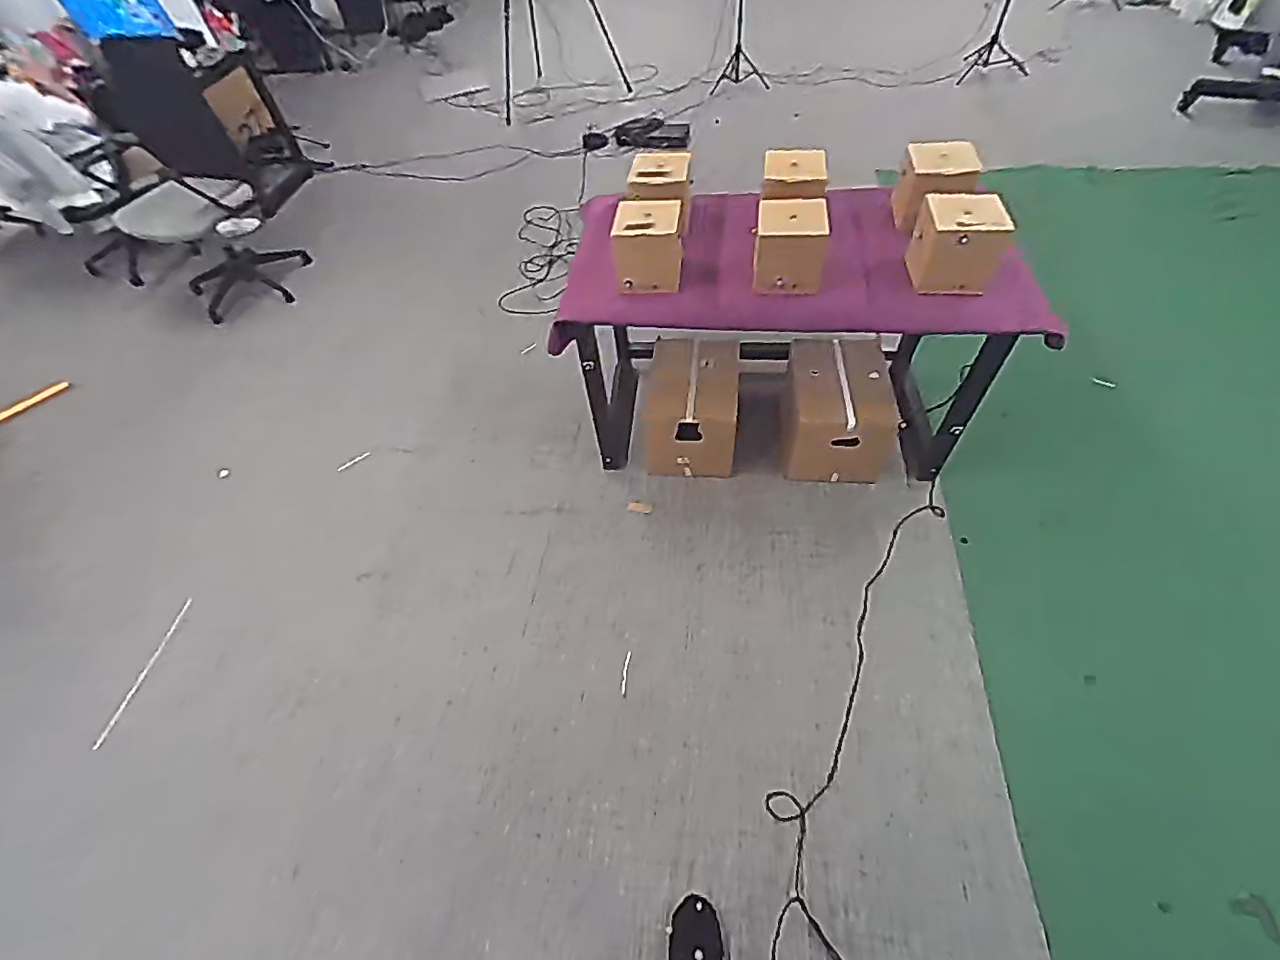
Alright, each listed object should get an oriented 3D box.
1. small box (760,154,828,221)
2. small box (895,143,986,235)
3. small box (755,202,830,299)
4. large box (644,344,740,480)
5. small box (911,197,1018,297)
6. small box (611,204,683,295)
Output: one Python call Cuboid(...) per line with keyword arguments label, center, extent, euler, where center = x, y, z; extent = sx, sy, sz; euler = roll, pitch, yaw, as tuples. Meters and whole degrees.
Cuboid(label="small box", center=(0.436, -0.806, 1.545), extent=(0.168, 0.176, 0.179), euler=(5, 55, 9))
Cuboid(label="small box", center=(0.819, -0.801, 1.493), extent=(0.168, 0.176, 0.179), euler=(3, 54, 11))
Cuboid(label="small box", center=(0.385, -0.588, 1.385), extent=(0.168, 0.176, 0.179), euler=(4, 53, 10))
Cuboid(label="large box", center=(0.201, -0.245, 1.979), extent=(0.320, 0.320, 0.408), euler=(3, 53, 8))
Cuboid(label="small box", center=(0.781, -0.572, 1.326), extent=(0.168, 0.176, 0.179), euler=(4, 51, 11))
Cuboid(label="small box", center=(0.026, -0.608, 1.437), extent=(0.168, 0.176, 0.179), euler=(3, 52, 8))
